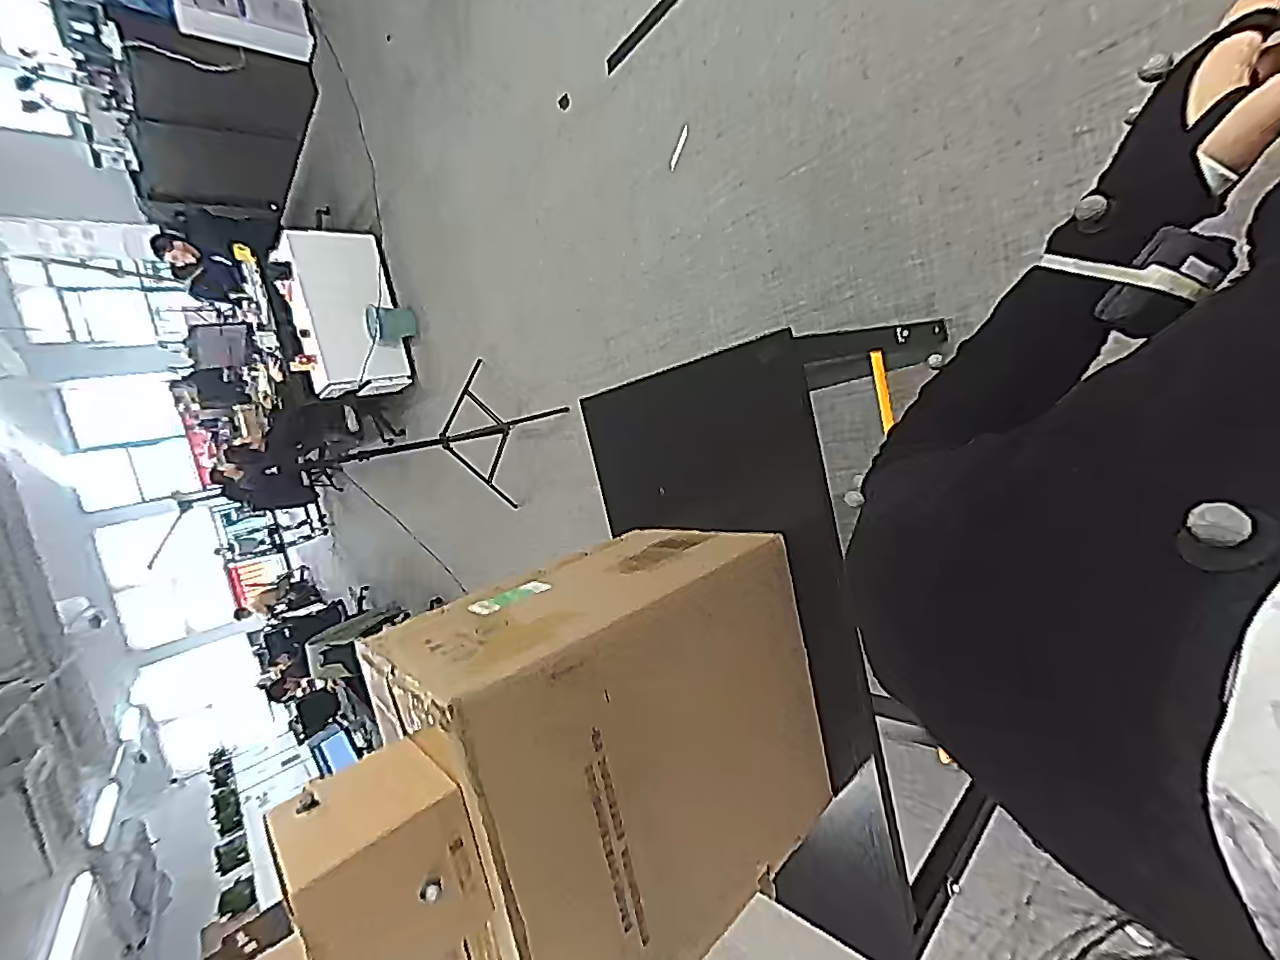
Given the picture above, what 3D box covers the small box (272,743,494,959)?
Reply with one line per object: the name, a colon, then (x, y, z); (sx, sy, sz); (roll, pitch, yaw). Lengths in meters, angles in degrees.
small box: (-0.291, 0.435, 0.617); (0.179, 0.176, 0.168); (-2, 103, 49)
